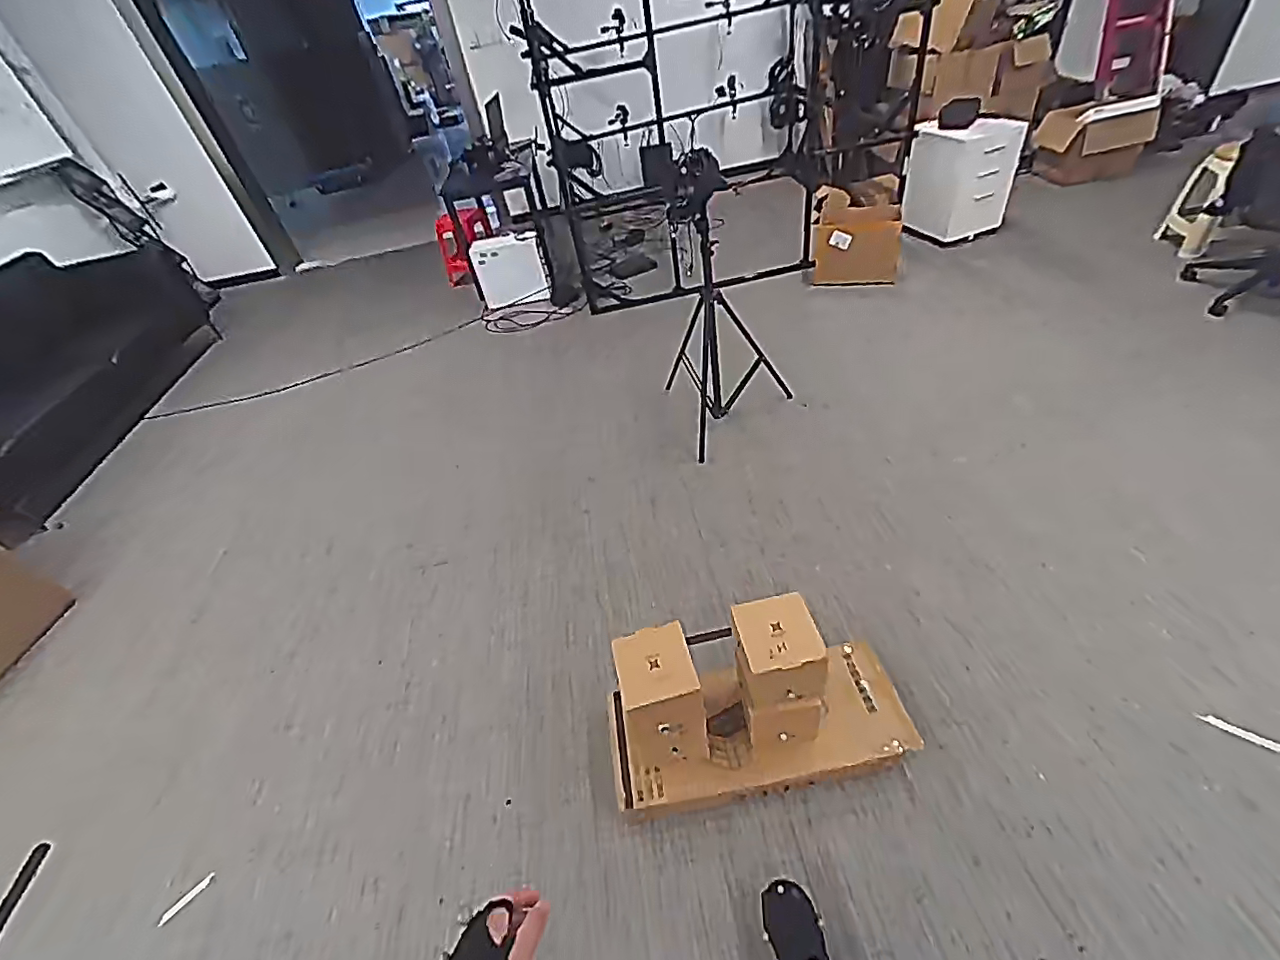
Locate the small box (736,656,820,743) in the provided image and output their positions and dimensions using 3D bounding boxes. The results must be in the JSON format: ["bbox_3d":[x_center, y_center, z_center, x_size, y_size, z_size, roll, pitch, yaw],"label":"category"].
[{"bbox_3d":[0.333,0.521,1.335,0.168,0.176,0.179,-10,42,3],"label":"small box"}]

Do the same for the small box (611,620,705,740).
[{"bbox_3d":[0.041,0.455,1.228,0.168,0.176,0.179,-16,42,-4],"label":"small box"}]

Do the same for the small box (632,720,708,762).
[{"bbox_3d":[0.070,0.575,1.336,0.168,0.176,0.179,-11,42,2],"label":"small box"}]

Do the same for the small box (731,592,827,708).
[{"bbox_3d":[0.310,0.388,1.237,0.168,0.176,0.179,-13,41,0],"label":"small box"}]
